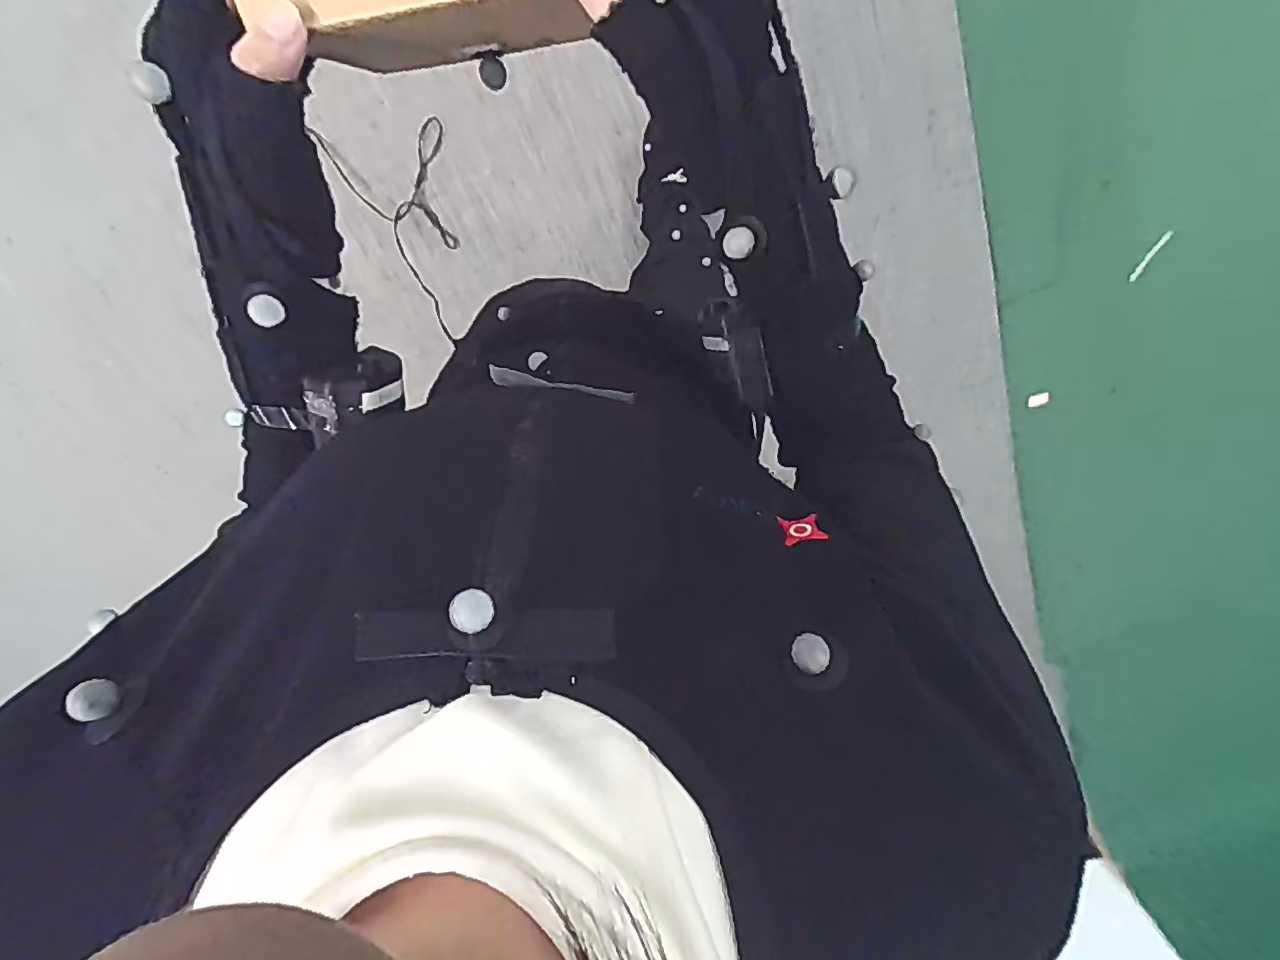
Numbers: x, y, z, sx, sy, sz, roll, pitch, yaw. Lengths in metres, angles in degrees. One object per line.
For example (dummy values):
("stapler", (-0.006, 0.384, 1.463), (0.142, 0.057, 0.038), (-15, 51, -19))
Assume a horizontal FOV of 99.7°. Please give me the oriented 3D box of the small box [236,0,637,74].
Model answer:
("small box", (-0.093, -0.306, 0.236), (0.168, 0.176, 0.179), (-9, 122, 2))
